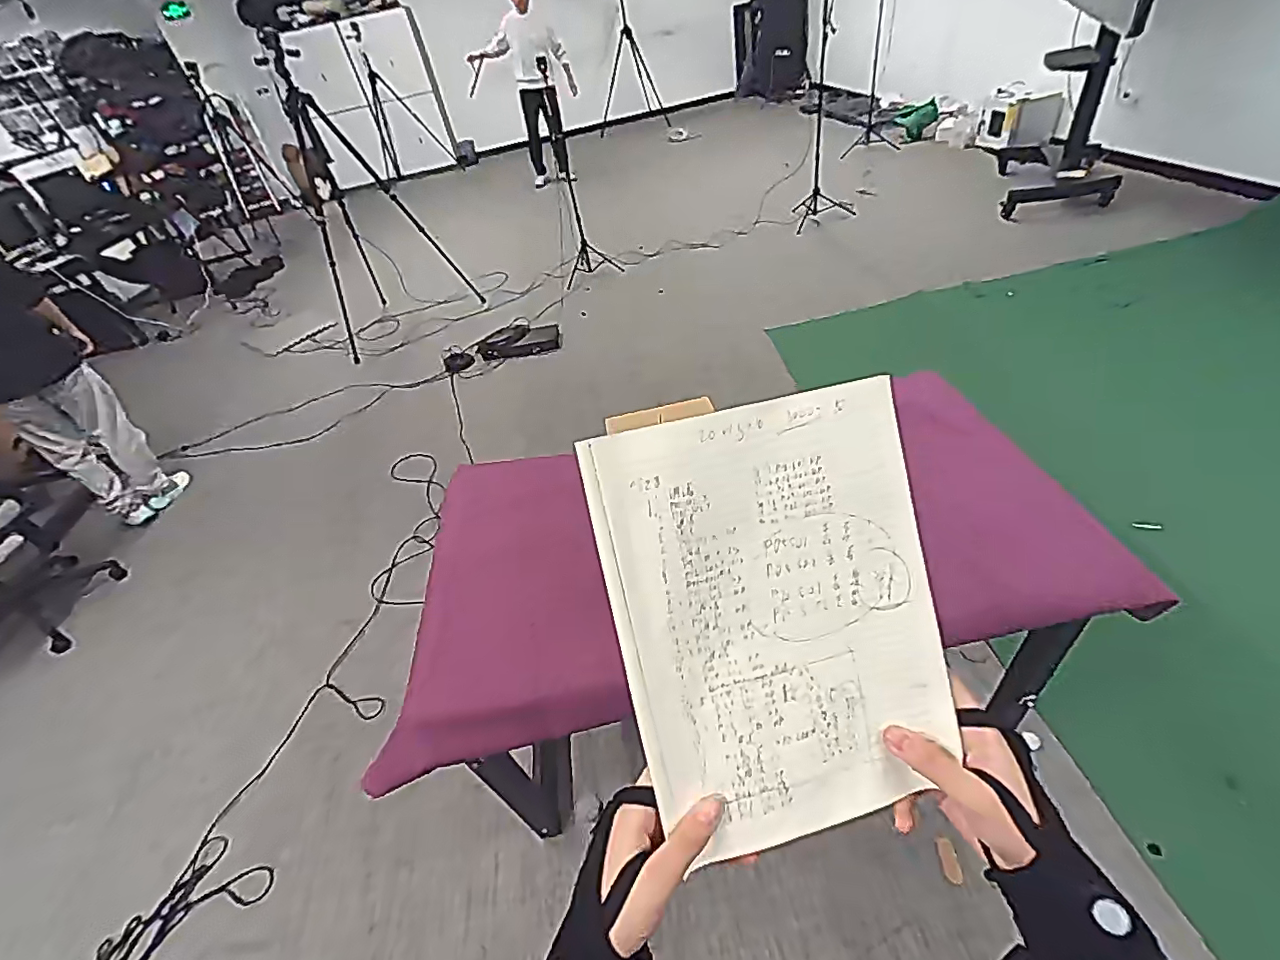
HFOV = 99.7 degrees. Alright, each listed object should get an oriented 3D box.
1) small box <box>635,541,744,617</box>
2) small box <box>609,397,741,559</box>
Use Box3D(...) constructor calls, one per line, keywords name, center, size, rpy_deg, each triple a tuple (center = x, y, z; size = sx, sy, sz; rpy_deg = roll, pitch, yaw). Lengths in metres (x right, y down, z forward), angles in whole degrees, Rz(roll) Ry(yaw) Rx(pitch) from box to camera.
Box3D(name="small box", center=(0.081, 0.119, 0.939), size=(0.168, 0.176, 0.179), rpy_deg=(-12, 42, 1))
Box3D(name="small box", center=(0.053, 0.002, 0.825), size=(0.168, 0.176, 0.179), rpy_deg=(-12, 40, 2))
